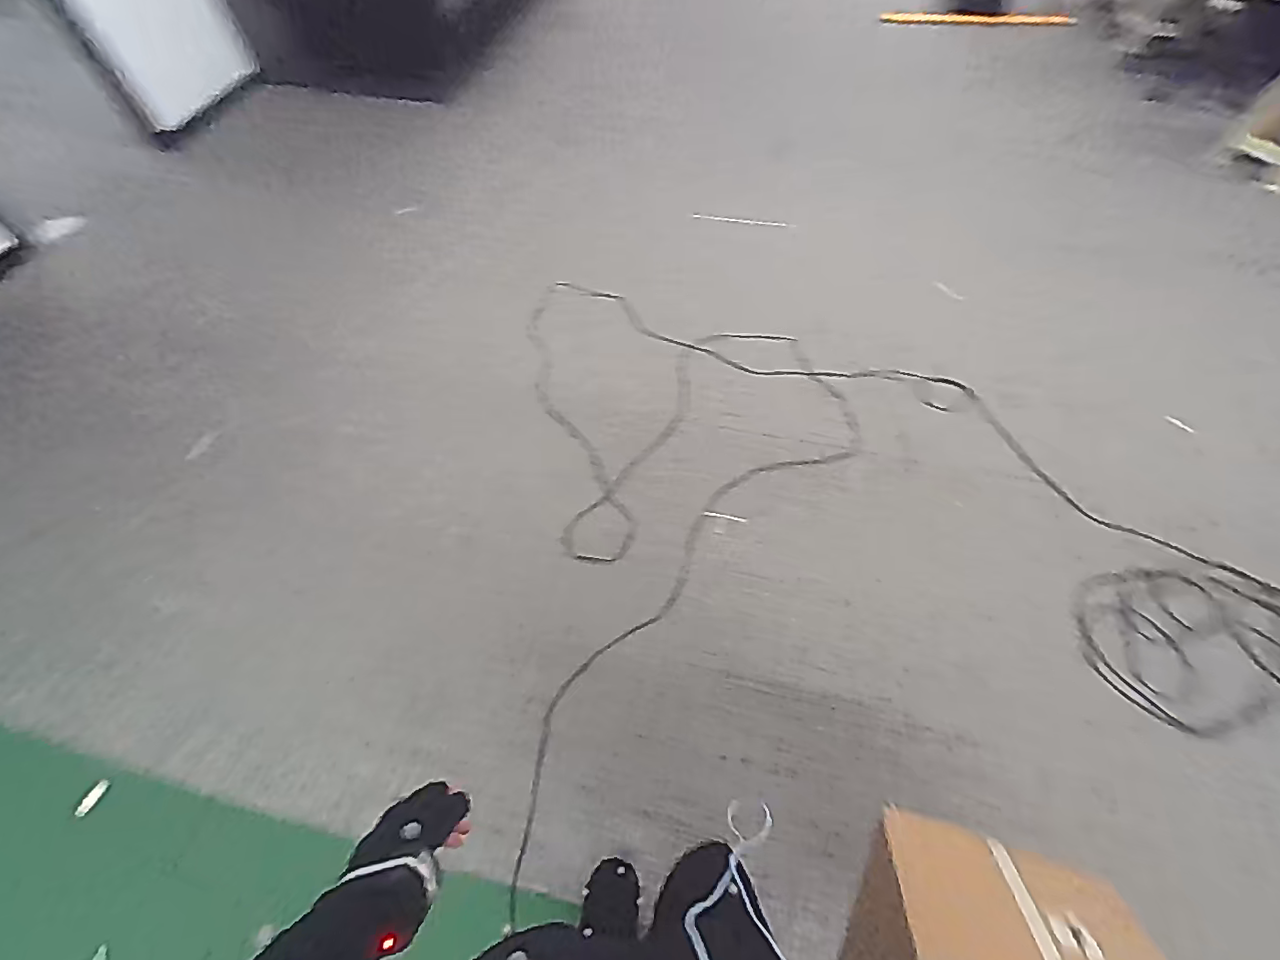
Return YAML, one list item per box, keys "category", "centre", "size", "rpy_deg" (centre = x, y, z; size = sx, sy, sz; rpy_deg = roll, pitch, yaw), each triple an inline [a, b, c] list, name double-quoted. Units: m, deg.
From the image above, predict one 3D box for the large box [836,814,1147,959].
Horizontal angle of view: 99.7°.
- category: "large box"
  centre: [0.434, 0.715, 0.638]
  size: [0.320, 0.408, 0.320]
  rpy_deg: [14, 99, 13]
